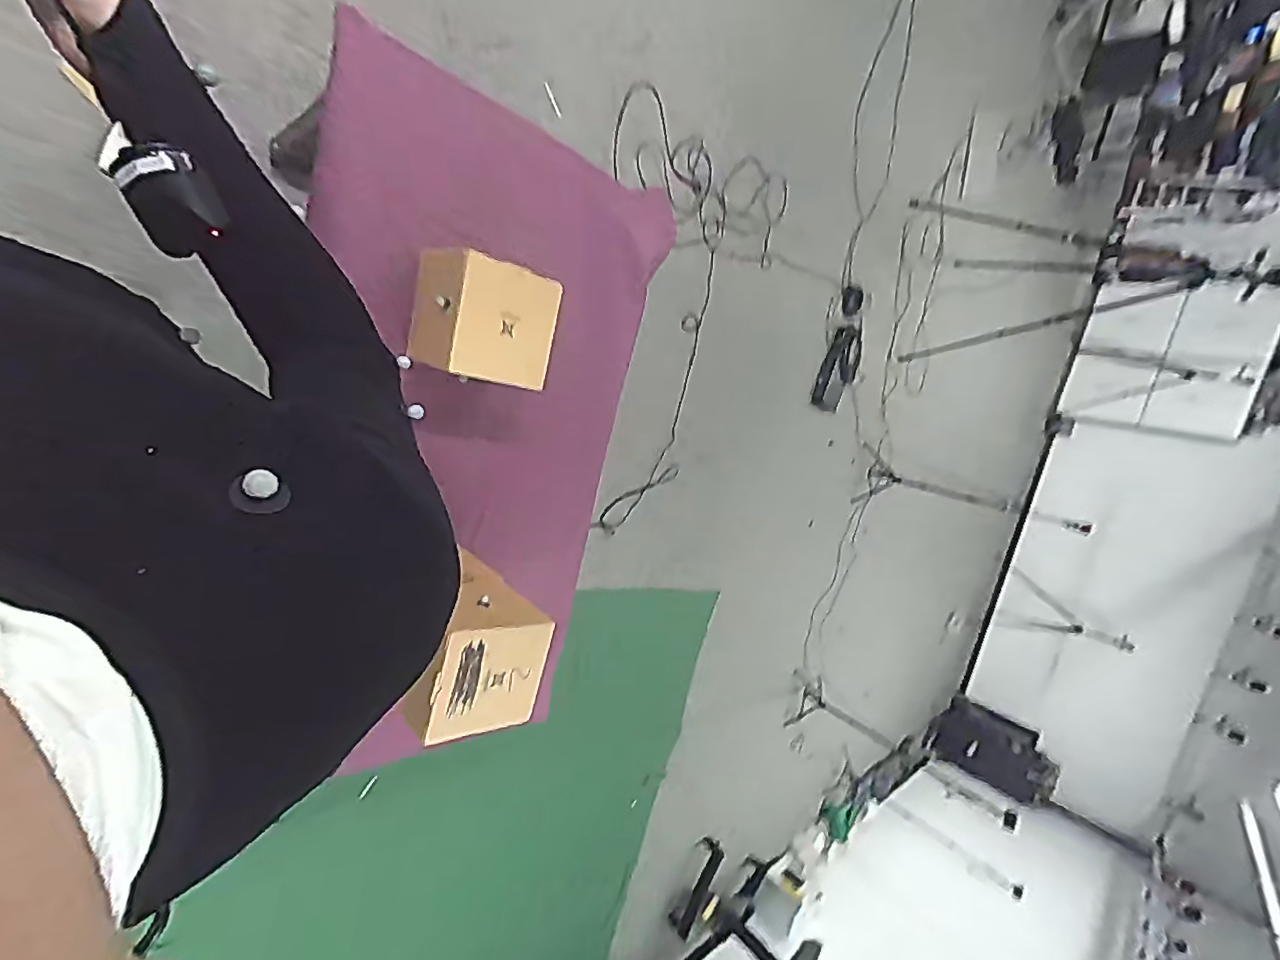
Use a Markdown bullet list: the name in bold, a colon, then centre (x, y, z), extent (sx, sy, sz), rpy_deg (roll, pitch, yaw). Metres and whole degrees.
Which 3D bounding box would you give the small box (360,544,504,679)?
- **small box**: centre (-0.371, 0.221, 0.955), extent (0.168, 0.176, 0.179), rpy_deg (10, 98, -46)

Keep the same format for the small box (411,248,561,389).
- **small box**: centre (-0.258, -0.260, 0.885), extent (0.168, 0.176, 0.179), rpy_deg (4, 102, -45)
